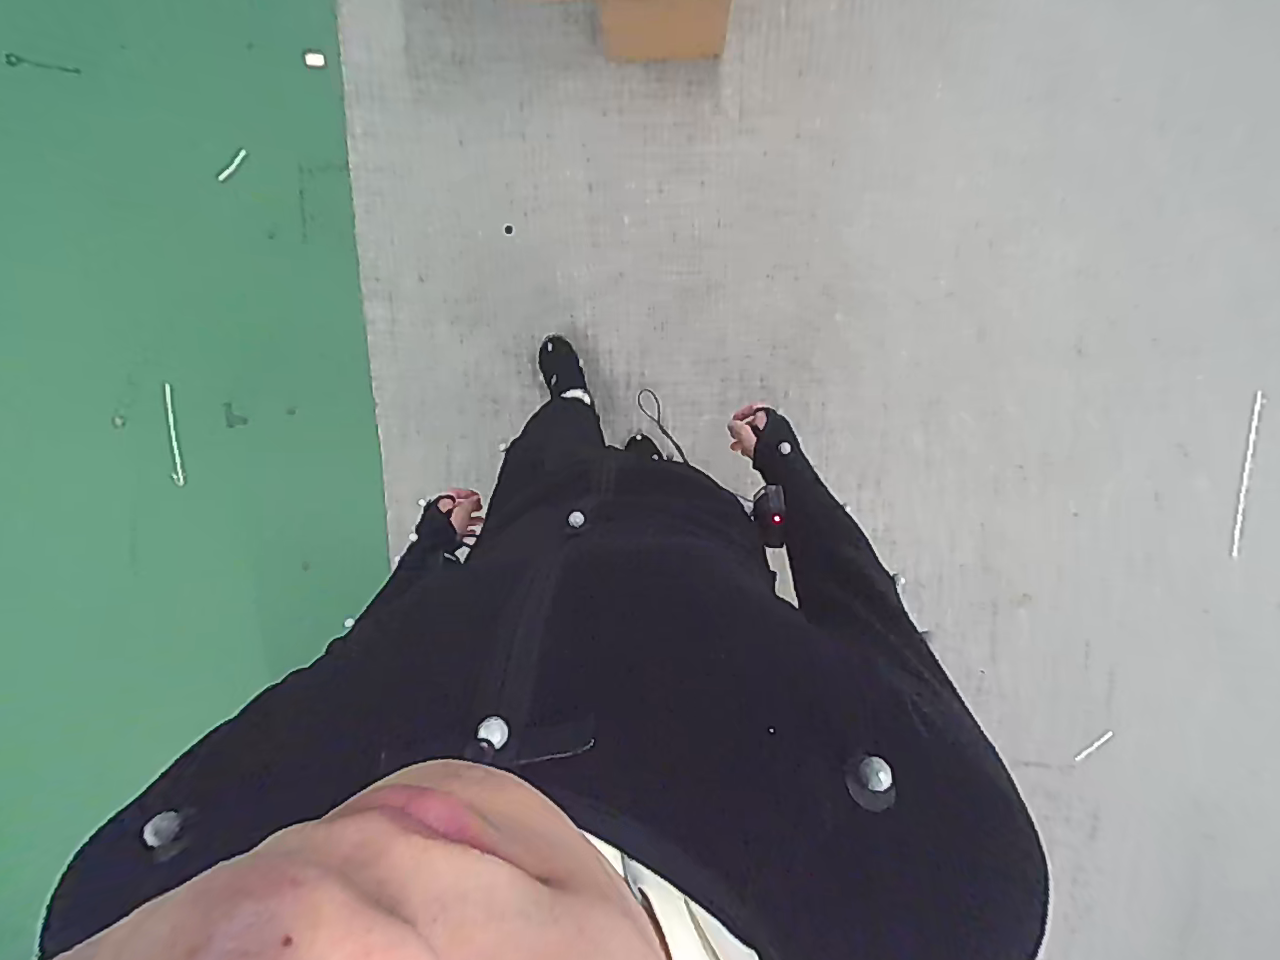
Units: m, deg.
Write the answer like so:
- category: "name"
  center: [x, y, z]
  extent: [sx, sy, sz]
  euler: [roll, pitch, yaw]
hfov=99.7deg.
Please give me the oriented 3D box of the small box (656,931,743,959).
- category: "small box"
  center: [0.113, 0.965, 0.969]
  extent: [0.168, 0.176, 0.179]
  euler: [-3, 99, 3]
